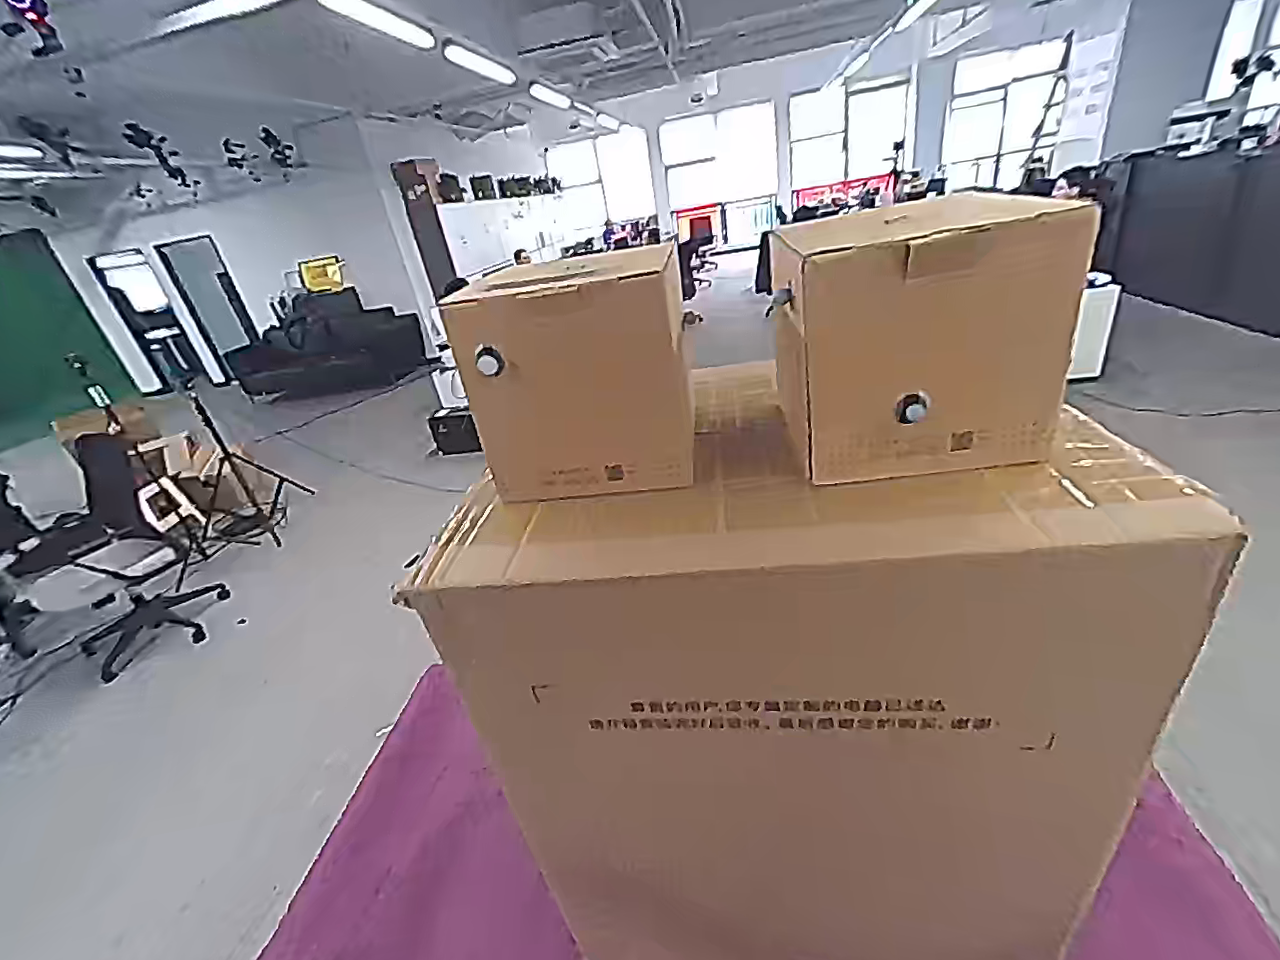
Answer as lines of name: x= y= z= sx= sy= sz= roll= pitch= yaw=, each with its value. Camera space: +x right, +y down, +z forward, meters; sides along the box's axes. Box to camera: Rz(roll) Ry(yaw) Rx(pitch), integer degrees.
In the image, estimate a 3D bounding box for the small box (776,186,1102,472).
small box: x=0.203 y=-0.123 z=0.428 sx=0.168 sy=0.176 sz=0.179 roll=-7 pitch=29 yaw=9
